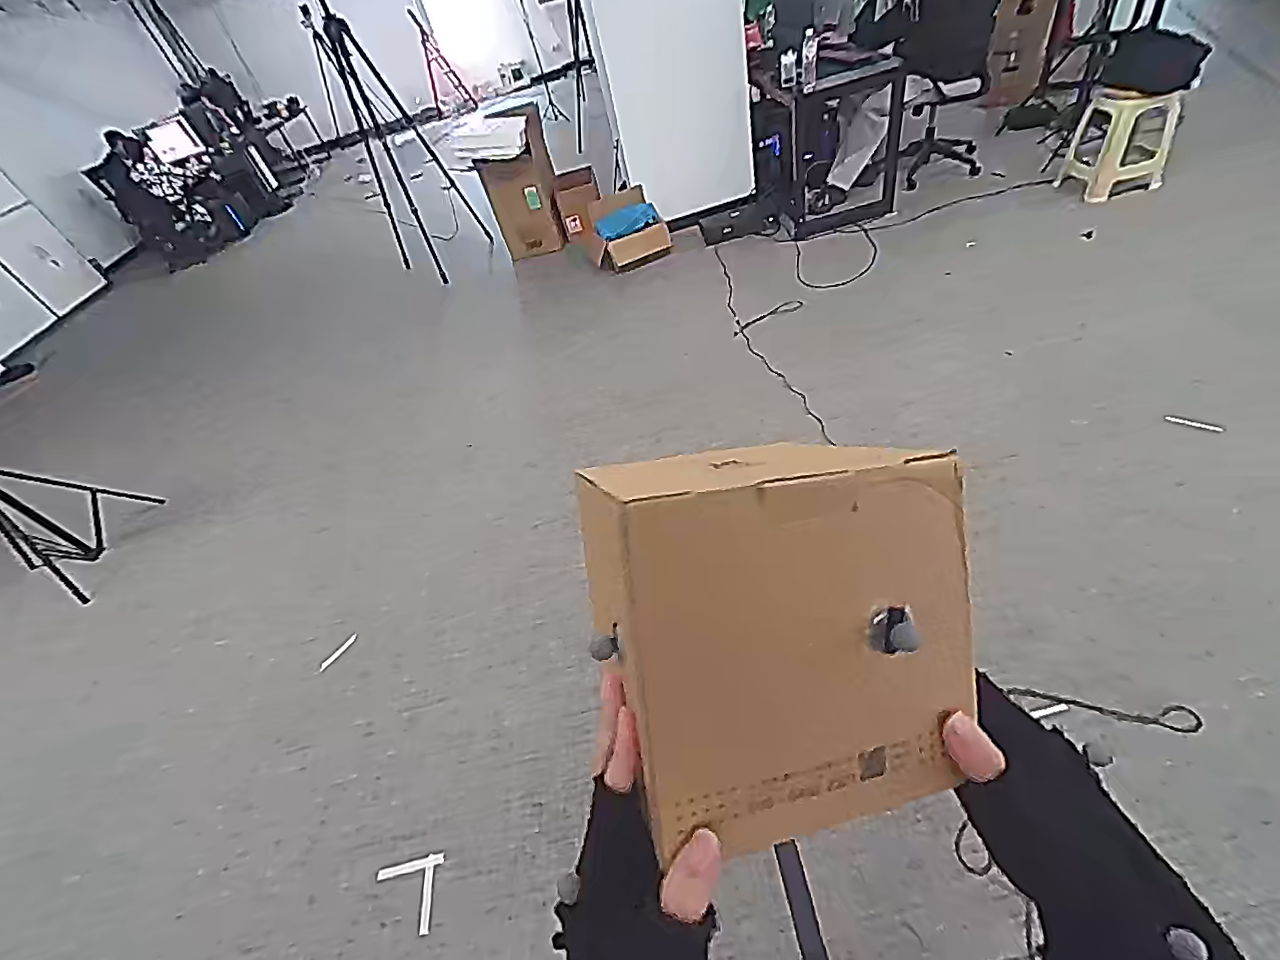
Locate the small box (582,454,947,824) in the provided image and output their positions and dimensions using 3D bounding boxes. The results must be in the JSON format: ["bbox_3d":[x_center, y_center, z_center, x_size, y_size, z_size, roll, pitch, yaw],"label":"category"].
[{"bbox_3d":[0.064,0.080,0.342,0.168,0.176,0.179,-8,6,-14],"label":"small box"}]
